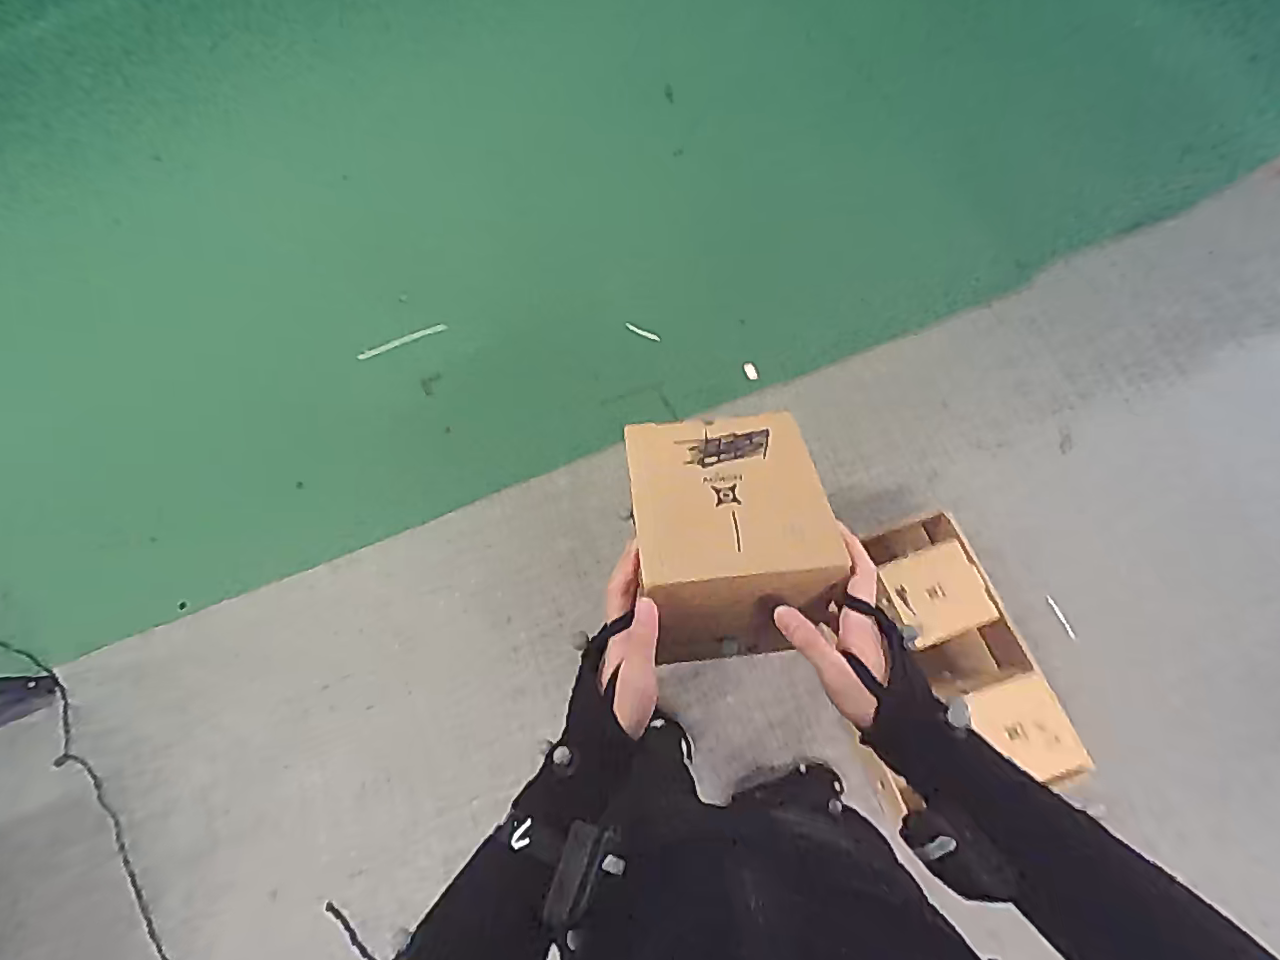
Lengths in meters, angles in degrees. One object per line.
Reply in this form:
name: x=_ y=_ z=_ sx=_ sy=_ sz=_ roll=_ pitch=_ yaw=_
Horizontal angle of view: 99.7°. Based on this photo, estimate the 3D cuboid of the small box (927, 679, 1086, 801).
small box: x=0.694 y=0.497 z=1.055 sx=0.179 sy=0.176 sz=0.168 roll=-18 pitch=70 yaw=0

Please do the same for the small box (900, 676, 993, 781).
small box: x=0.710 y=0.549 z=1.211 sx=0.179 sy=0.176 sz=0.168 roll=-19 pitch=70 yaw=0

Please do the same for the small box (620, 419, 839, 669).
small box: x=0.069 y=0.064 z=0.531 sx=0.168 sy=0.176 sz=0.179 roll=-6 pitch=51 yaw=-2

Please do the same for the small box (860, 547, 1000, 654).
small box: x=0.598 y=0.258 z=1.141 sx=0.179 sy=0.176 sz=0.168 roll=-20 pitch=71 yaw=0
